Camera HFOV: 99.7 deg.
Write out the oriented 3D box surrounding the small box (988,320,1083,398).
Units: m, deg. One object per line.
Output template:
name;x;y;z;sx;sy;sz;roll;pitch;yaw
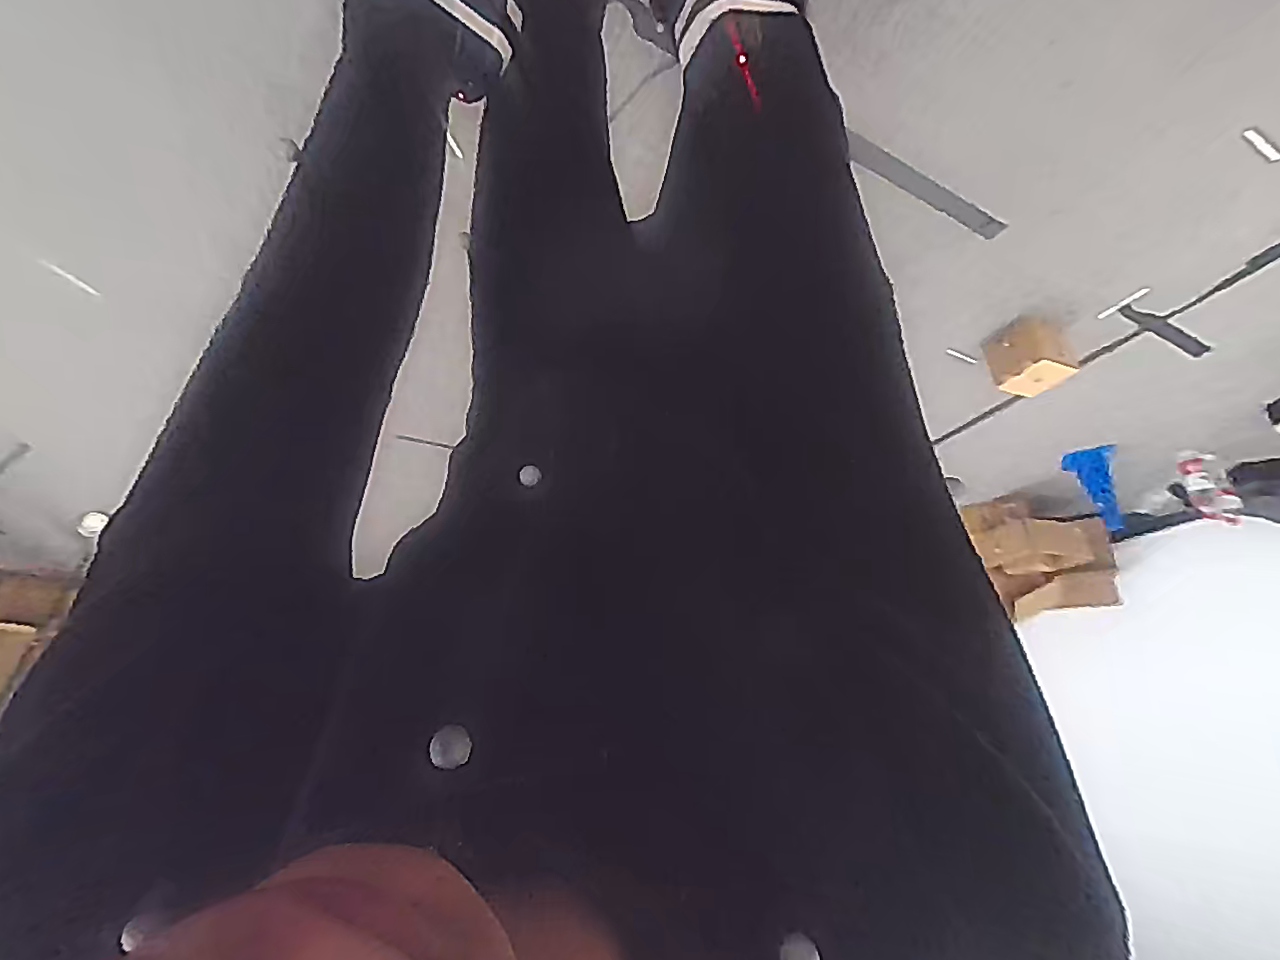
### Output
small box;1.295;-0.399;1.779;0.179;0.176;0.168;11;151;-18
